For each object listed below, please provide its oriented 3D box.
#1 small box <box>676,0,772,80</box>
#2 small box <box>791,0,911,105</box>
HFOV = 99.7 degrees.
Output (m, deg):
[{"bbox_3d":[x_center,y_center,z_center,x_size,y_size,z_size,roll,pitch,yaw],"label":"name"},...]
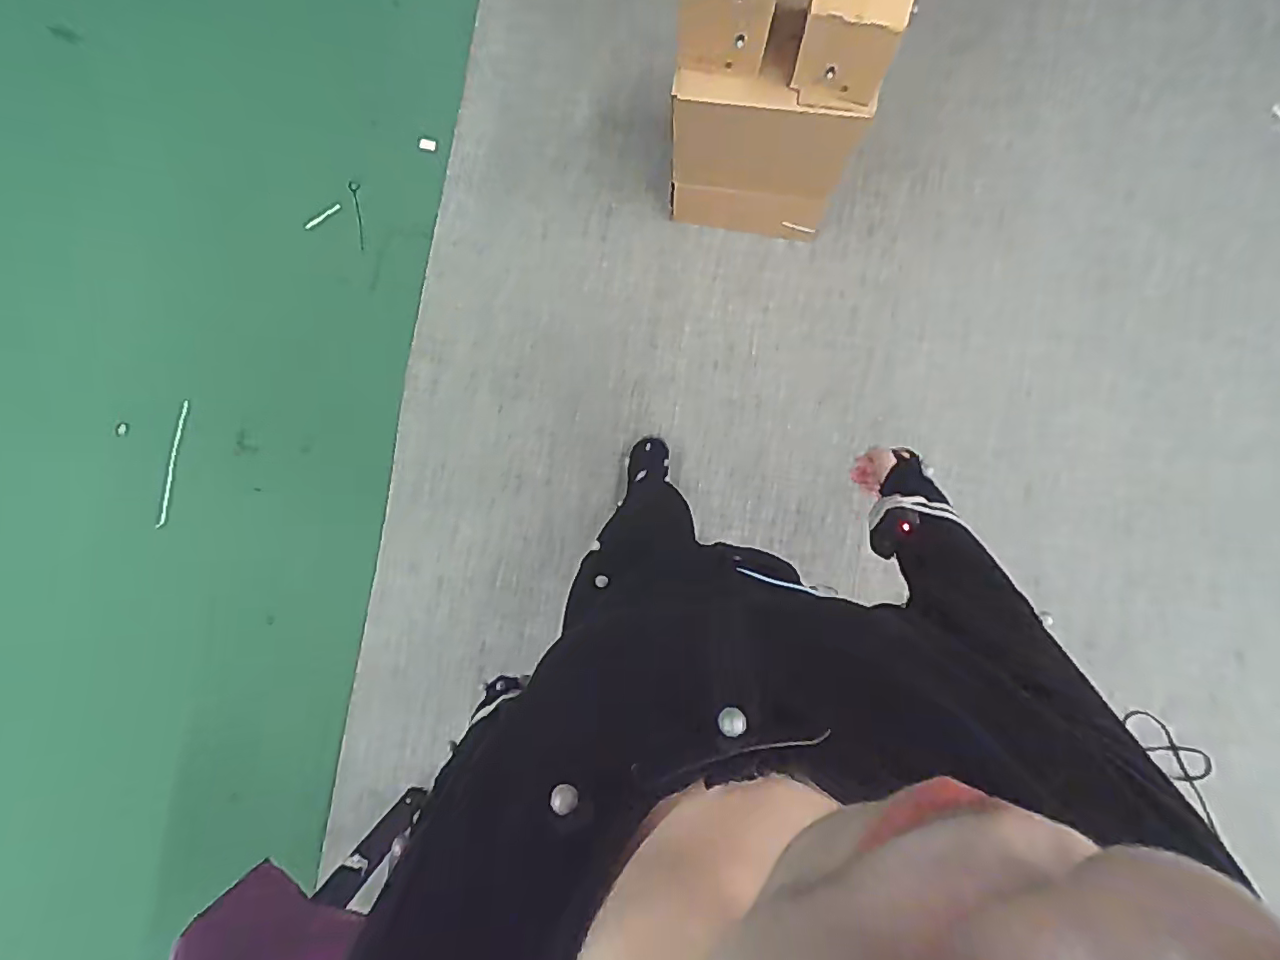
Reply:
[{"bbox_3d":[0.163,-0.900,1.013,0.168,0.176,0.179,10,88,1],"label":"small box"},{"bbox_3d":[0.390,-0.847,0.996,0.168,0.176,0.179,15,88,5],"label":"small box"}]
